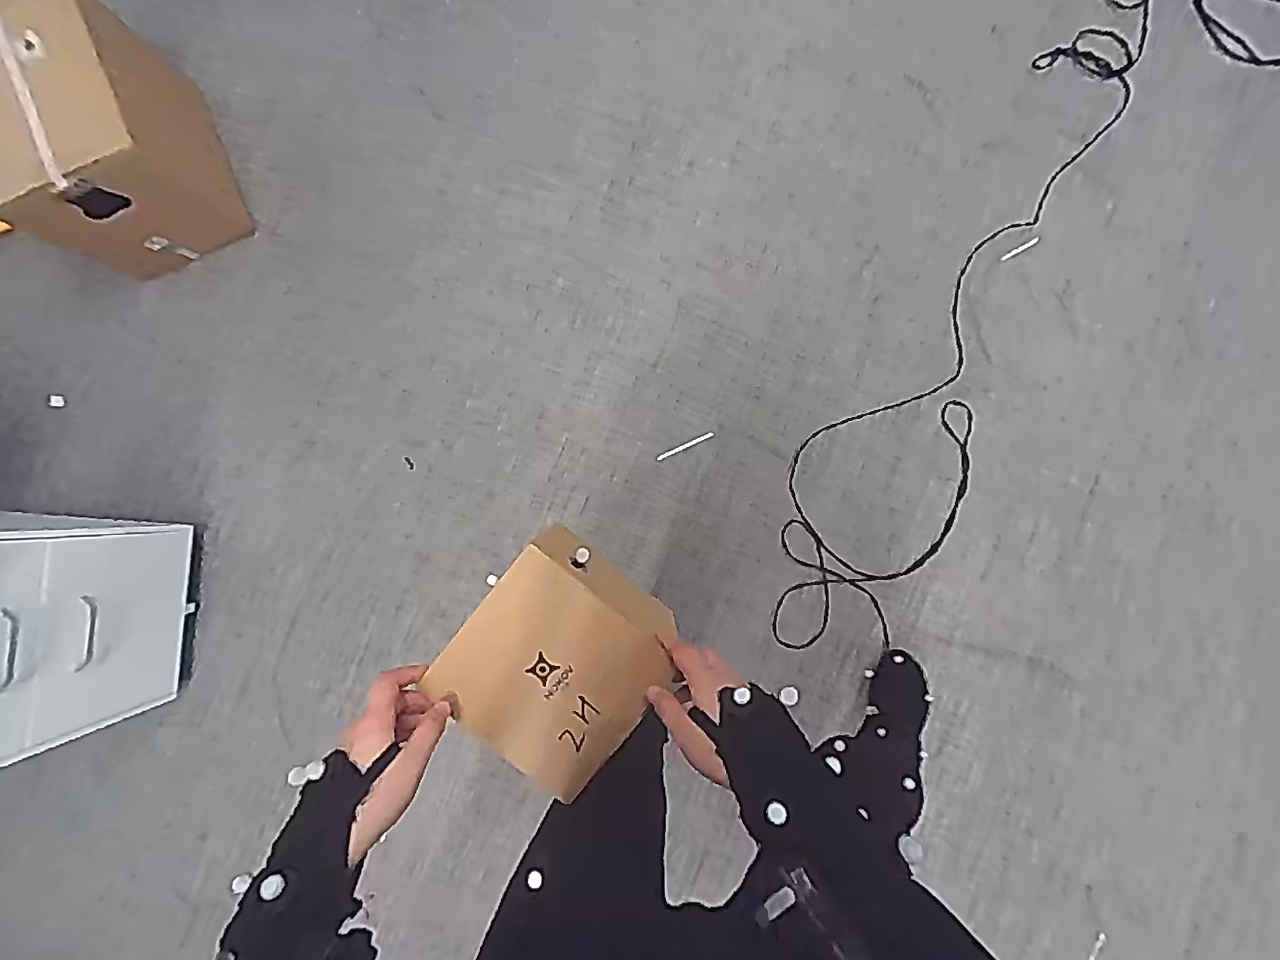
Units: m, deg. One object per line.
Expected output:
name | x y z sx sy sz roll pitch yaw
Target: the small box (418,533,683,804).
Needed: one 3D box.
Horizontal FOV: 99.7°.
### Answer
small box | -0.079 0.169 0.552 0.179 0.176 0.168 39 92 -2
